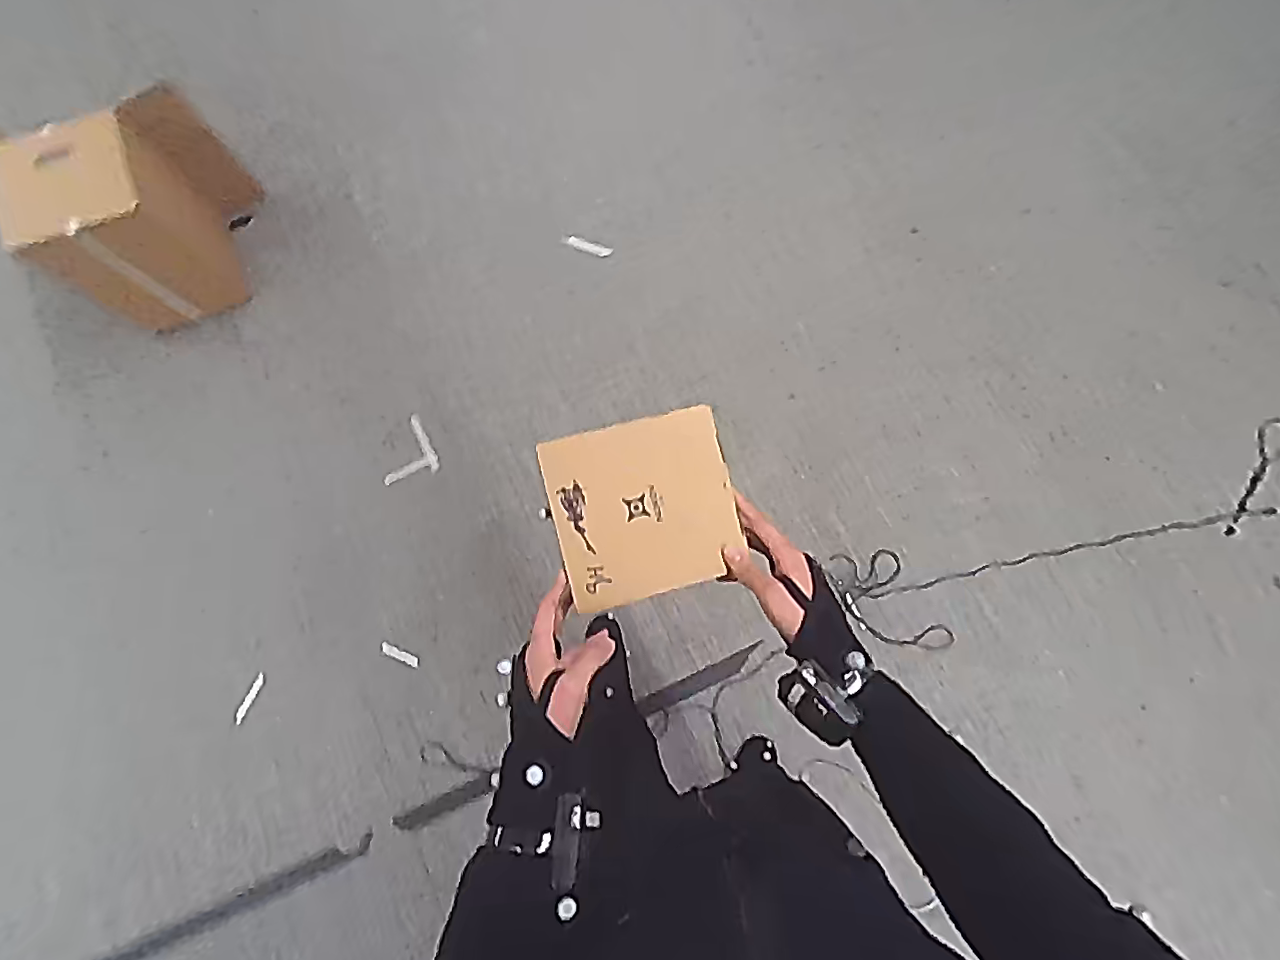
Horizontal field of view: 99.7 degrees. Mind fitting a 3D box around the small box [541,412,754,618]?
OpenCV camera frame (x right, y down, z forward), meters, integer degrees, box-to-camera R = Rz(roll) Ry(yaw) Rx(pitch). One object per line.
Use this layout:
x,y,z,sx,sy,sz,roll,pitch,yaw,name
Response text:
-0.001,0.037,0.587,0.179,0.176,0.168,-13,85,-7,small box
